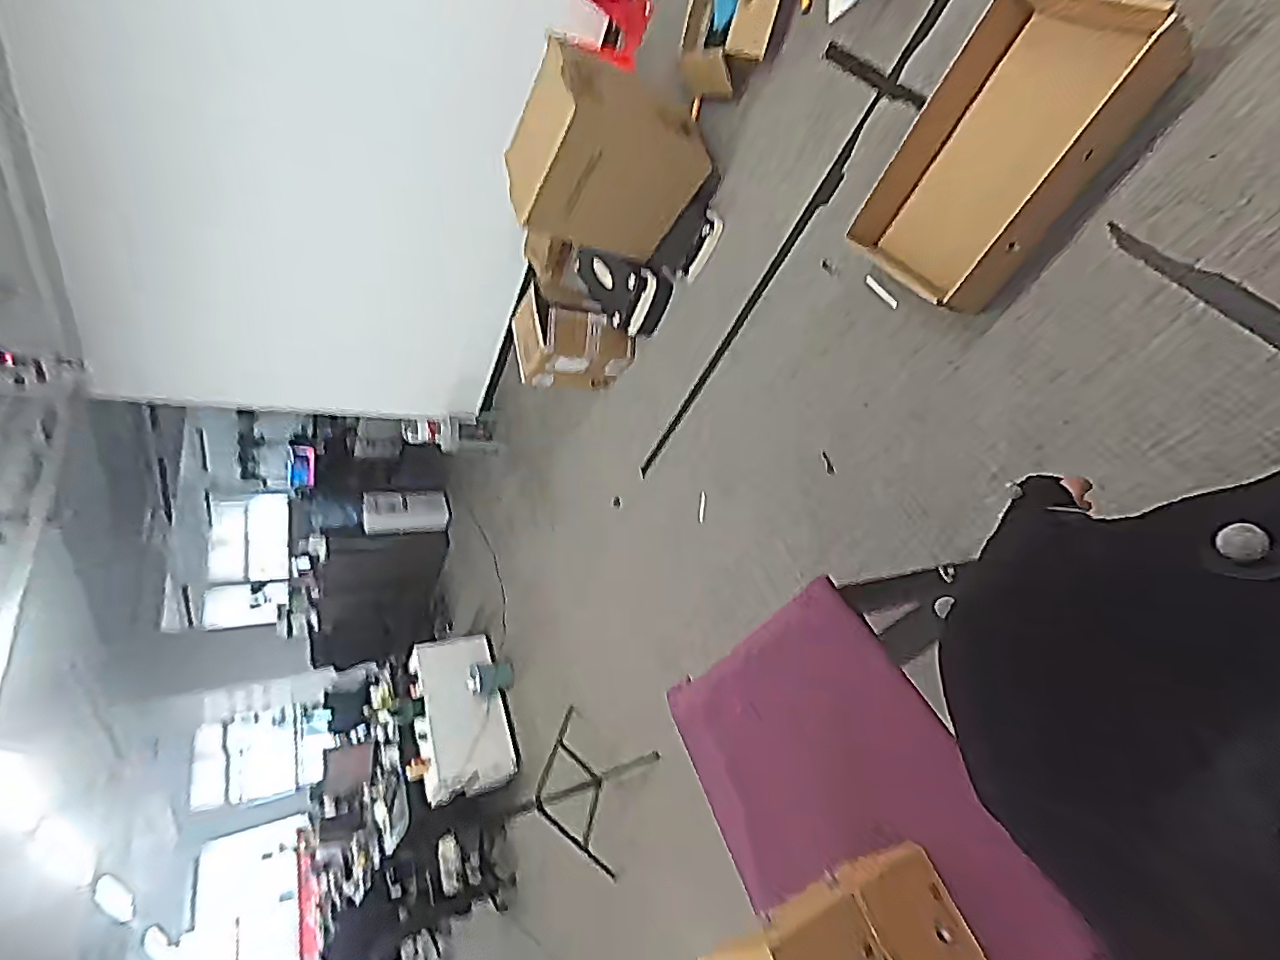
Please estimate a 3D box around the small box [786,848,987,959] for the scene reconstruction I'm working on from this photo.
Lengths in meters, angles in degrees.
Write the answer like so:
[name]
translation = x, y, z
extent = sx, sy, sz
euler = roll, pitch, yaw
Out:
[small box]
translation = 0.358, 0.675, 0.793
extent = 0.179, 0.176, 0.168
euler = -57, 46, 39
